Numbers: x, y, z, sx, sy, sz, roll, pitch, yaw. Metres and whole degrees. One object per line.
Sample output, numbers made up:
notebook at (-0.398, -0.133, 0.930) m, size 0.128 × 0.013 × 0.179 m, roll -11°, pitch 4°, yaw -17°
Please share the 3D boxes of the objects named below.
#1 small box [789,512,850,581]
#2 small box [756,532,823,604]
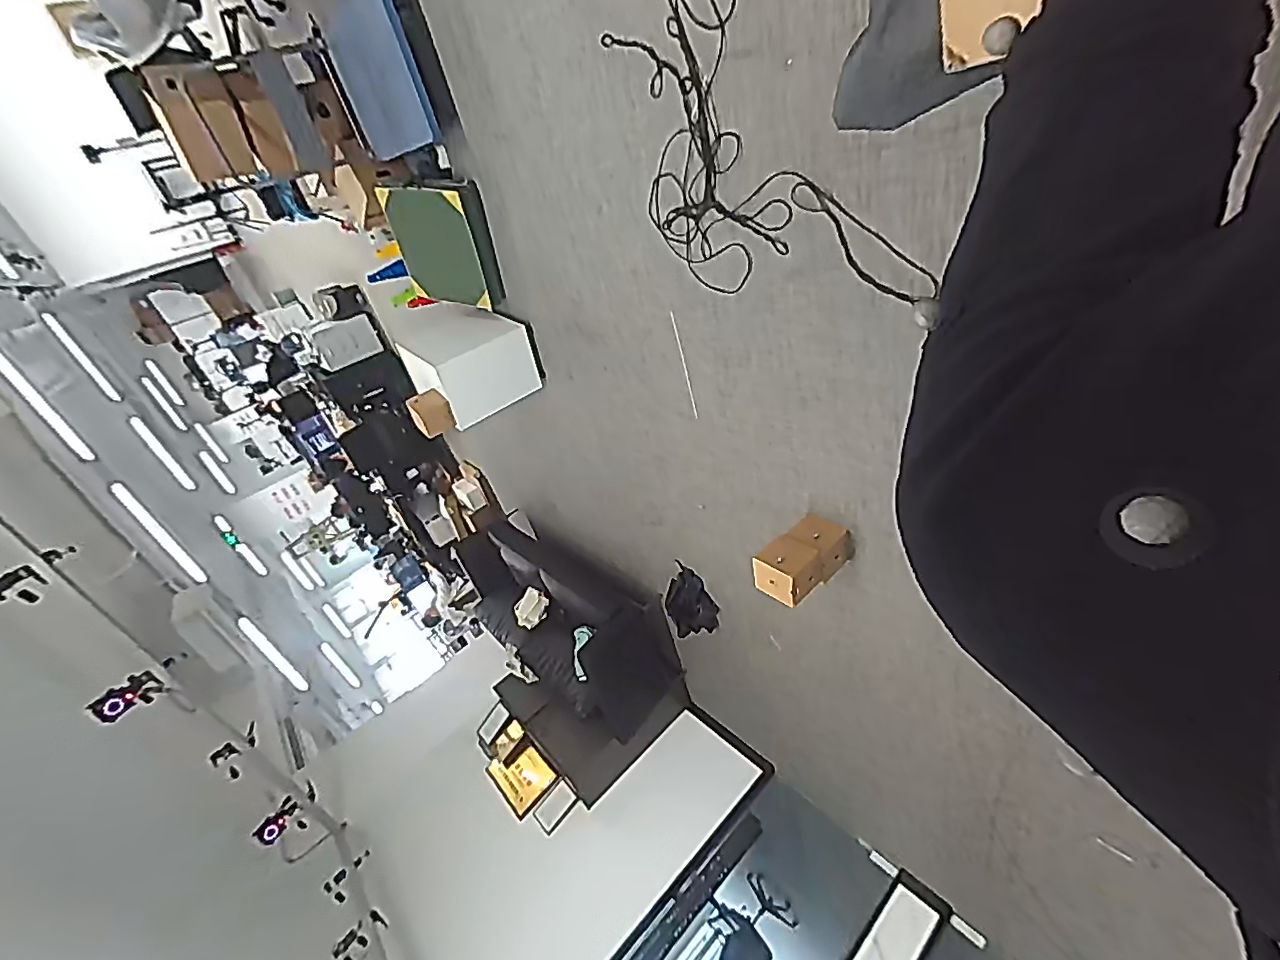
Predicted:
small box at (0.684, 0.247, 2.065) m, size 0.179 × 0.176 × 0.168 m, roll 25°, pitch 141°, yaw 43°
small box at (0.554, 0.317, 1.994) m, size 0.179 × 0.176 × 0.168 m, roll 26°, pitch 141°, yaw 43°
